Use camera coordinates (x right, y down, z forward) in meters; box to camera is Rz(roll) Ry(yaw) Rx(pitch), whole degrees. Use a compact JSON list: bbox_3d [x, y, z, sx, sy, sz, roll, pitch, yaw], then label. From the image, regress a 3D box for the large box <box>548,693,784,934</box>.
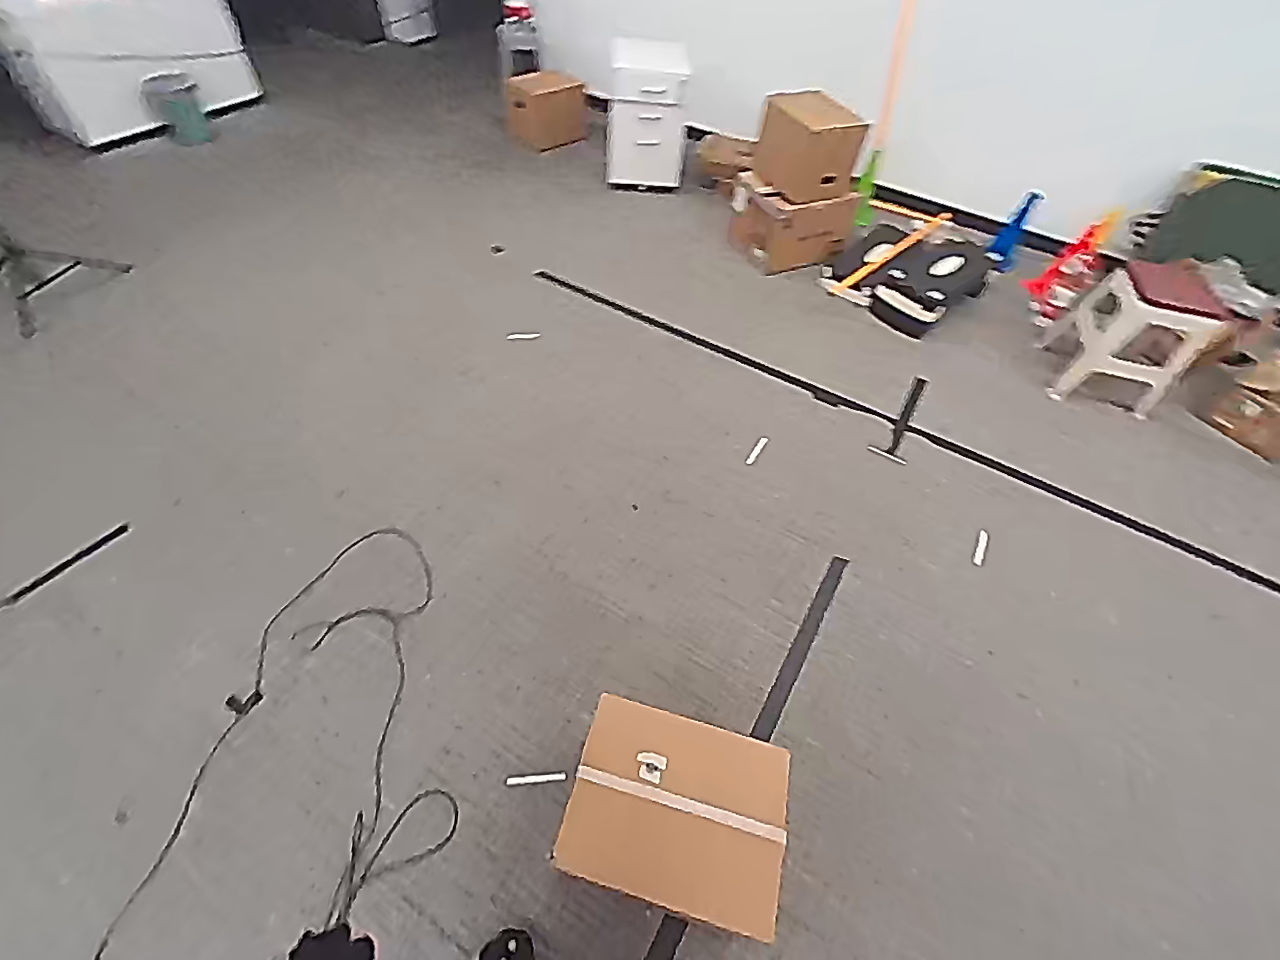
[{"bbox_3d":[0.057,0.702,1.147,0.408,0.320,0.320,15,52,7],"label":"large box"}]
